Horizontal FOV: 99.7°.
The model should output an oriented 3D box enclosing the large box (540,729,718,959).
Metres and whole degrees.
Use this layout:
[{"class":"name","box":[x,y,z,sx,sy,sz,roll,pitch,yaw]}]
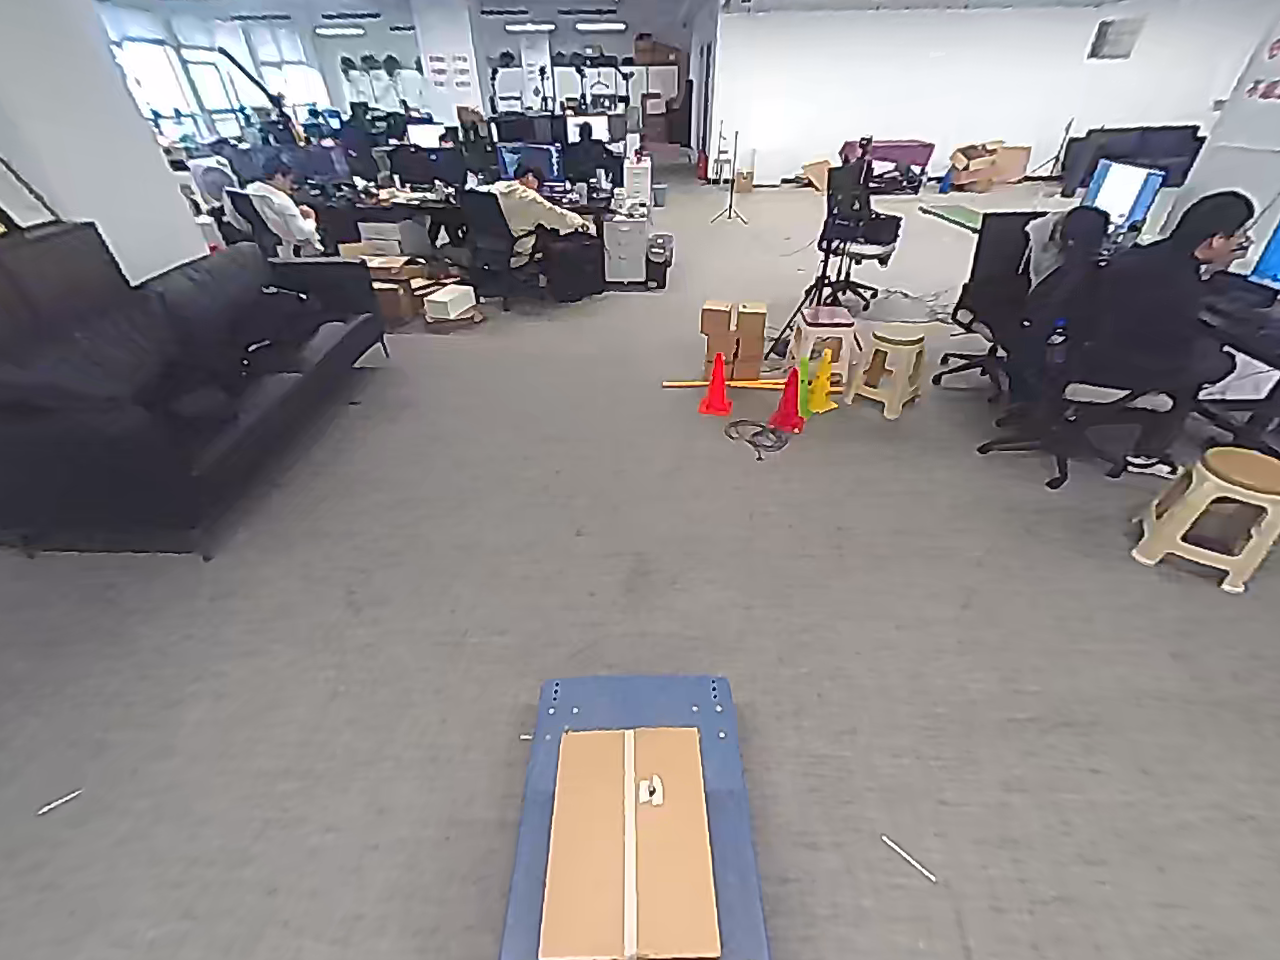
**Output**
[{"class":"large box","box":[-0.020,0.816,1.169,0.320,0.320,0.408,-1,37,0]}]
